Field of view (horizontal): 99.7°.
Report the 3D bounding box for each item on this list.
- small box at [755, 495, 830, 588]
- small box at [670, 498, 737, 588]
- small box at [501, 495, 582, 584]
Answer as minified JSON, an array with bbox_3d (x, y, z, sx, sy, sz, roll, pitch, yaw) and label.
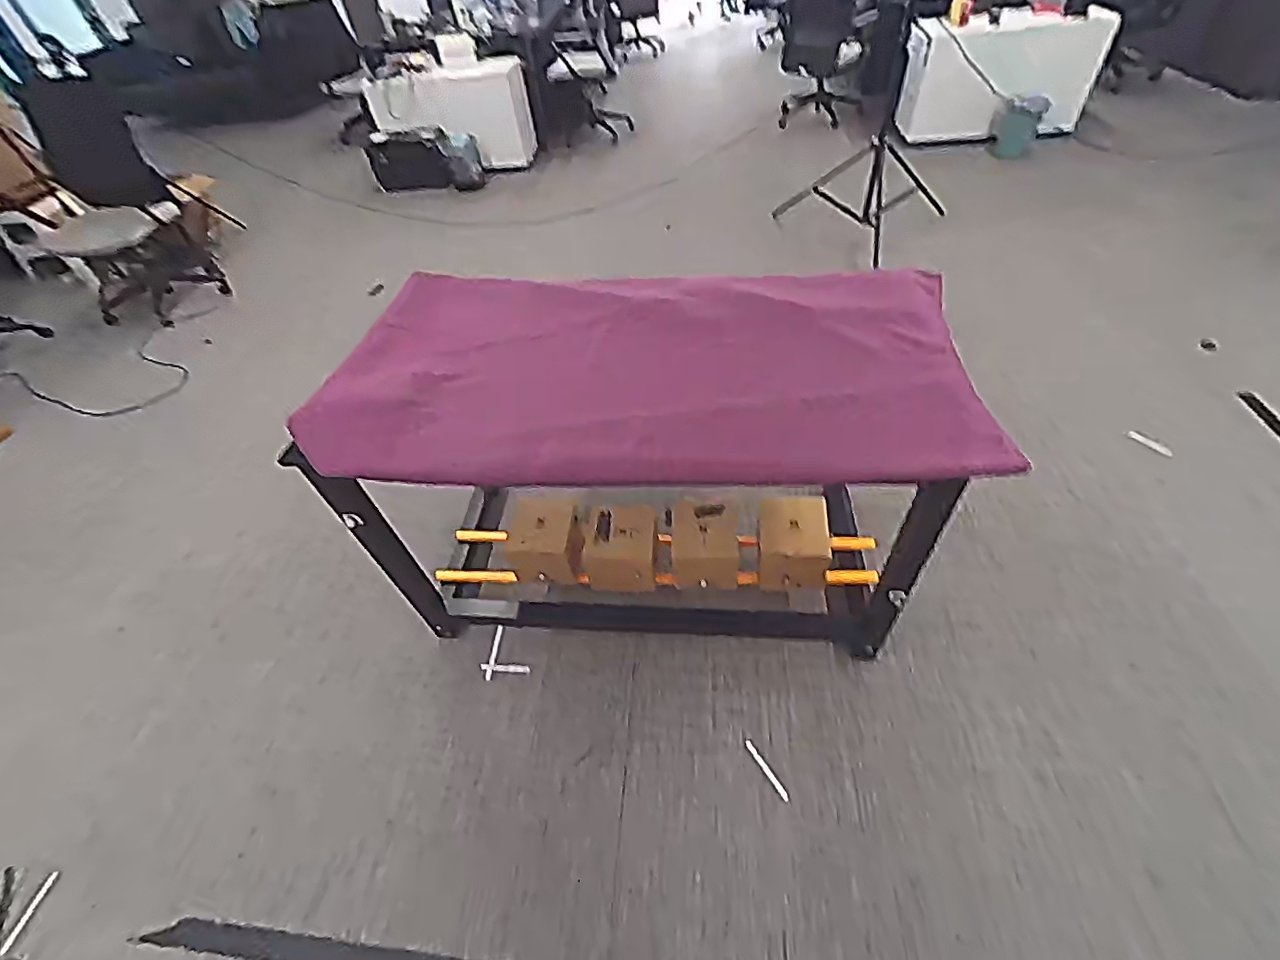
[{"bbox_3d":[0.384,0.158,1.393,0.168,0.176,0.179,1,51,9],"label":"small box"},{"bbox_3d":[0.165,0.165,1.418,0.168,0.176,0.179,-2,51,7],"label":"small box"},{"bbox_3d":[-0.259,0.161,1.469,0.168,0.176,0.179,0,51,7],"label":"small box"}]
